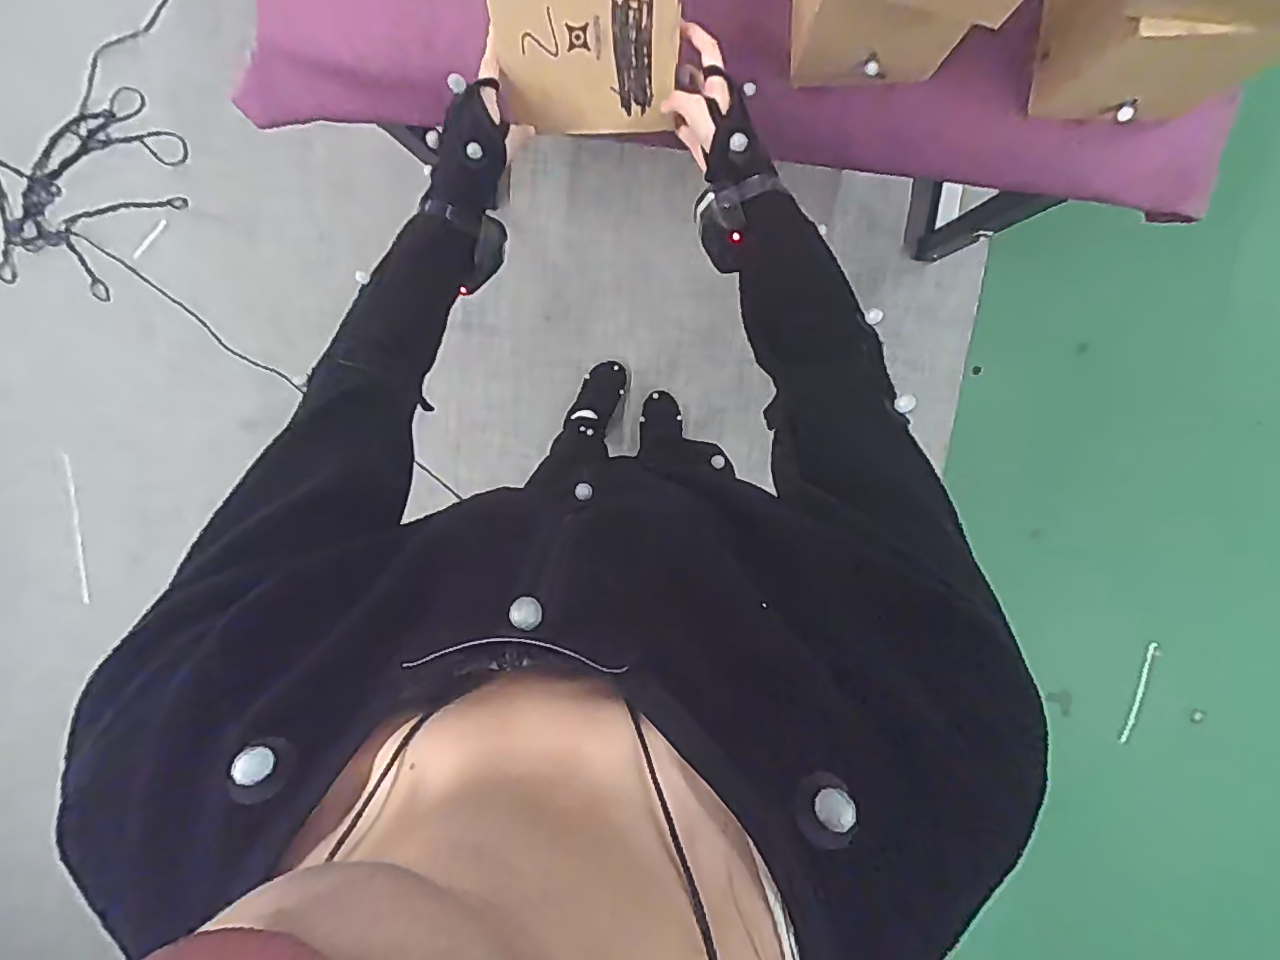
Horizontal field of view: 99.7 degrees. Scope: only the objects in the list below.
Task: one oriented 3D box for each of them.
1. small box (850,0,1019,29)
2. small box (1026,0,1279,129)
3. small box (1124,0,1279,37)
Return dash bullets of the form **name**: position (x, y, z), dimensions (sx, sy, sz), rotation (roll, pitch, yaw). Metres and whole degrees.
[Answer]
- **small box**: position (0.265, -0.499, 0.414), dimensions (0.179, 0.176, 0.168), rotation (15, 99, 2)
- **small box**: position (0.554, -0.492, 0.561), dimensions (0.179, 0.176, 0.168), rotation (3, 100, 4)
- **small box**: position (0.532, -0.473, 0.400), dimensions (0.179, 0.176, 0.168), rotation (9, 100, 3)
